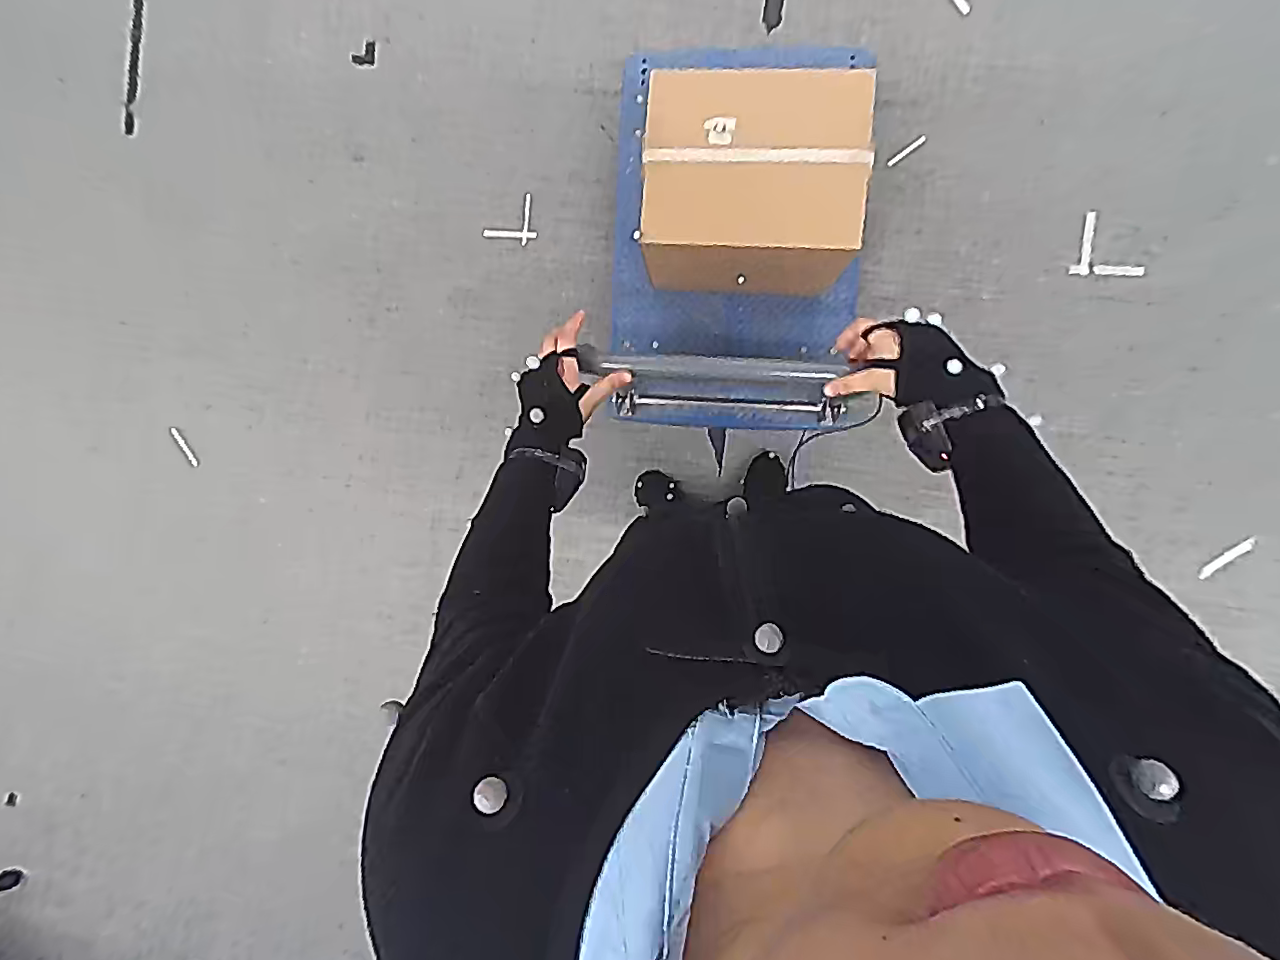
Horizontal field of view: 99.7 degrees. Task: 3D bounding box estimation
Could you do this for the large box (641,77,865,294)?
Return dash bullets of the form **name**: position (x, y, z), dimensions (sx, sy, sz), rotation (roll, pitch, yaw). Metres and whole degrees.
- **large box**: position (0.225, -0.593, 1.155), dimensions (0.408, 0.320, 0.320), rotation (4, 92, 7)
